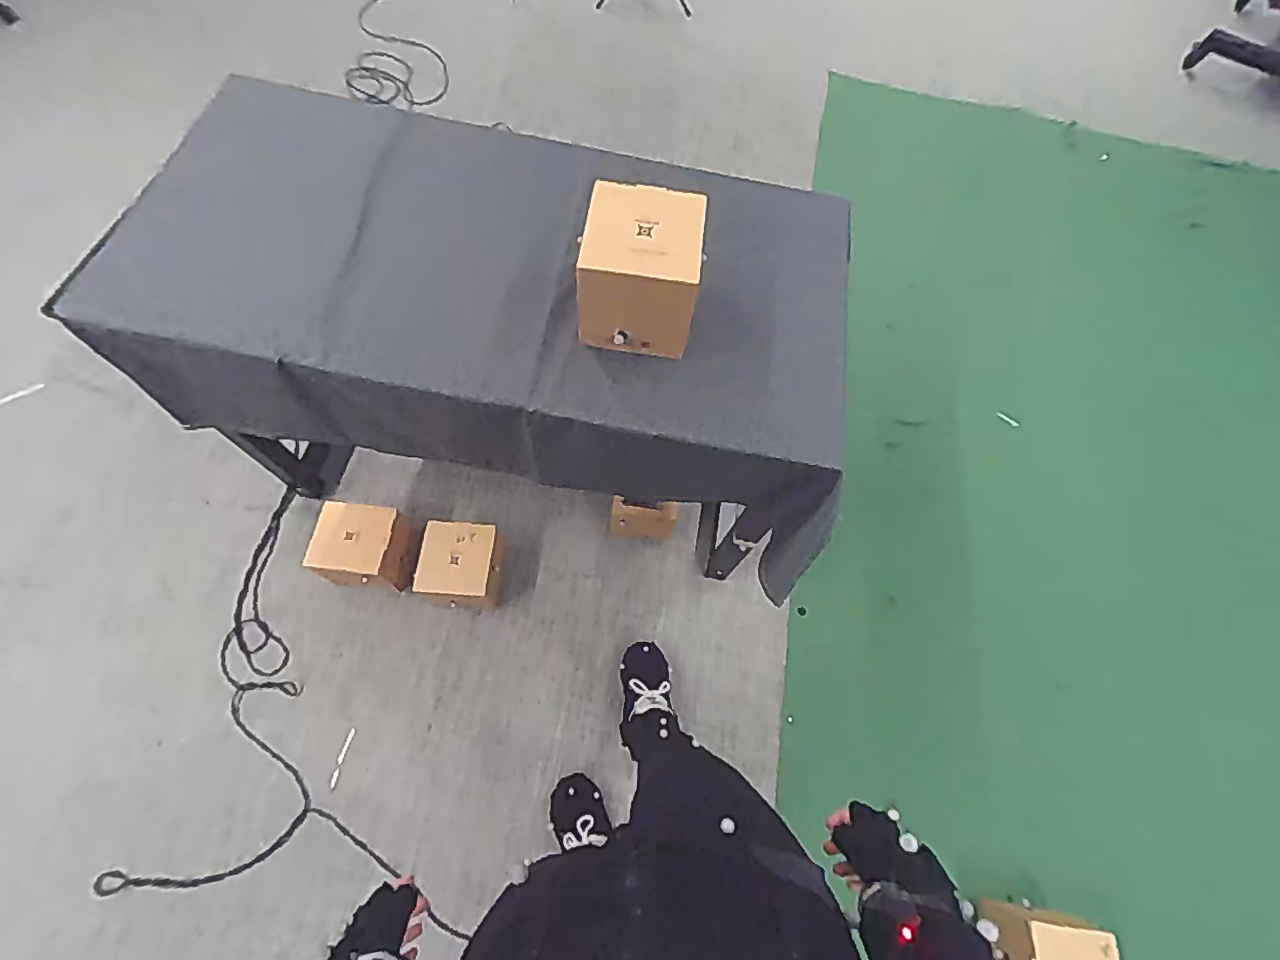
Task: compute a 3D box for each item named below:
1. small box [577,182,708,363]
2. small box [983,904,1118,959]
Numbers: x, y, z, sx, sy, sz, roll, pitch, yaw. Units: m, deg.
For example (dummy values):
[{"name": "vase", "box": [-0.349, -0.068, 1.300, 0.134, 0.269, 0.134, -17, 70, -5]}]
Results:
[{"name": "small box", "box": [0.000, -0.305, 0.812, 0.168, 0.176, 0.179, 8, 65, -1]}, {"name": "small box", "box": [0.832, 0.996, 1.103, 0.179, 0.176, 0.168, 10, 65, 0]}]
